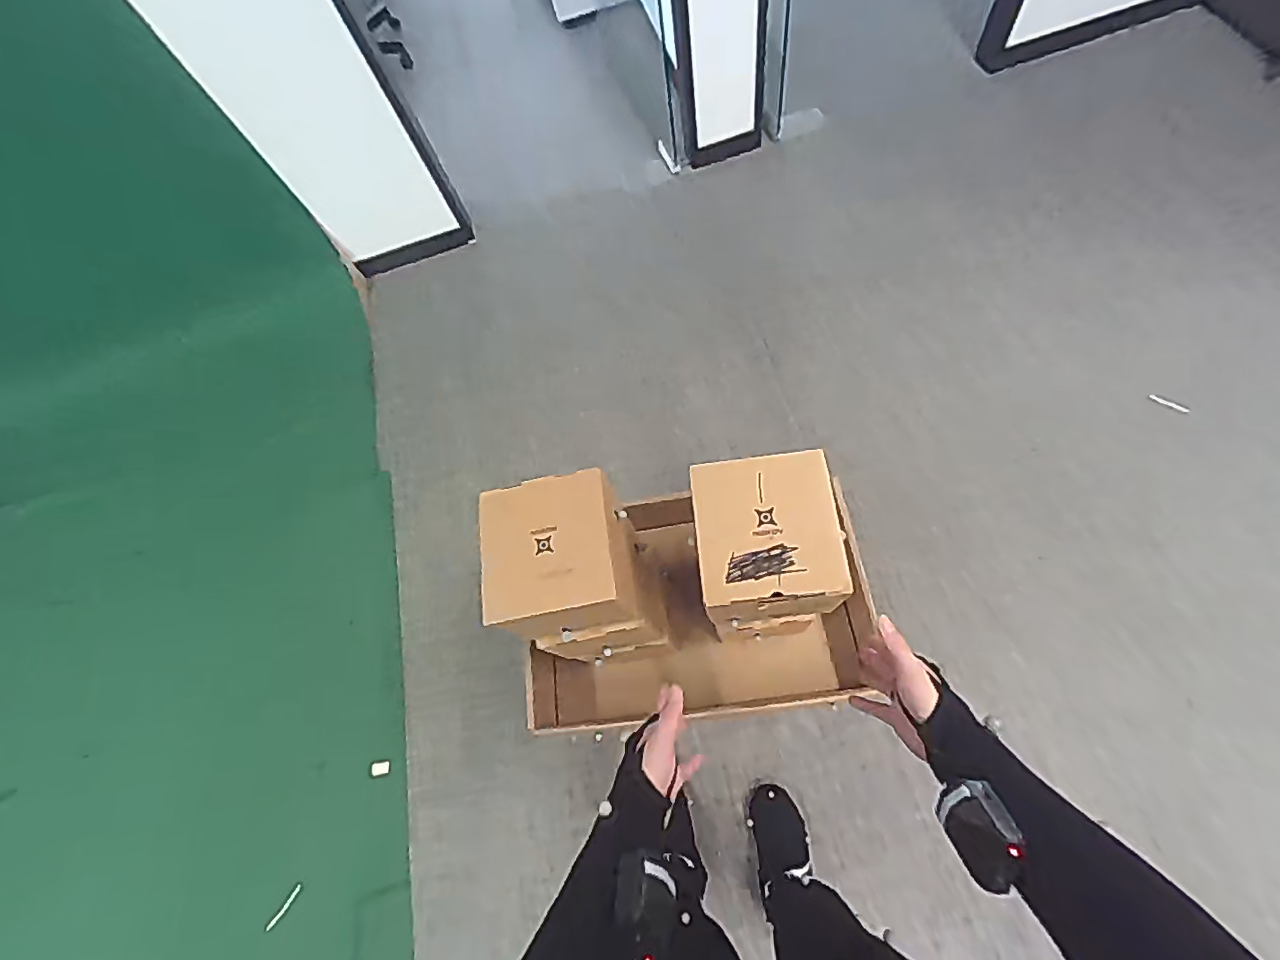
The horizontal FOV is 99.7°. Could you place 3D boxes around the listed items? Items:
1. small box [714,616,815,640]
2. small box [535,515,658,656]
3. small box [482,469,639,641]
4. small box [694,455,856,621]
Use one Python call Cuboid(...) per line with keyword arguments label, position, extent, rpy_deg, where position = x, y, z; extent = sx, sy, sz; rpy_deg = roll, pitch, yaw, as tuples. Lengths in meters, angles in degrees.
Cuboid(label="small box", position=(0.212, 0.193, 1.004), extent=(0.168, 0.176, 0.179), rpy_deg=(-10, 69, 5))
Cuboid(label="small box", position=(-0.072, 0.177, 0.874), extent=(0.168, 0.176, 0.179), rpy_deg=(-12, 67, 4))
Cuboid(label="small box", position=(-0.102, 0.109, 0.728), extent=(0.168, 0.176, 0.179), rpy_deg=(-11, 67, 5))
Cuboid(label="small box", position=(0.163, 0.085, 0.697), extent=(0.168, 0.176, 0.179), rpy_deg=(-6, 69, 7))
